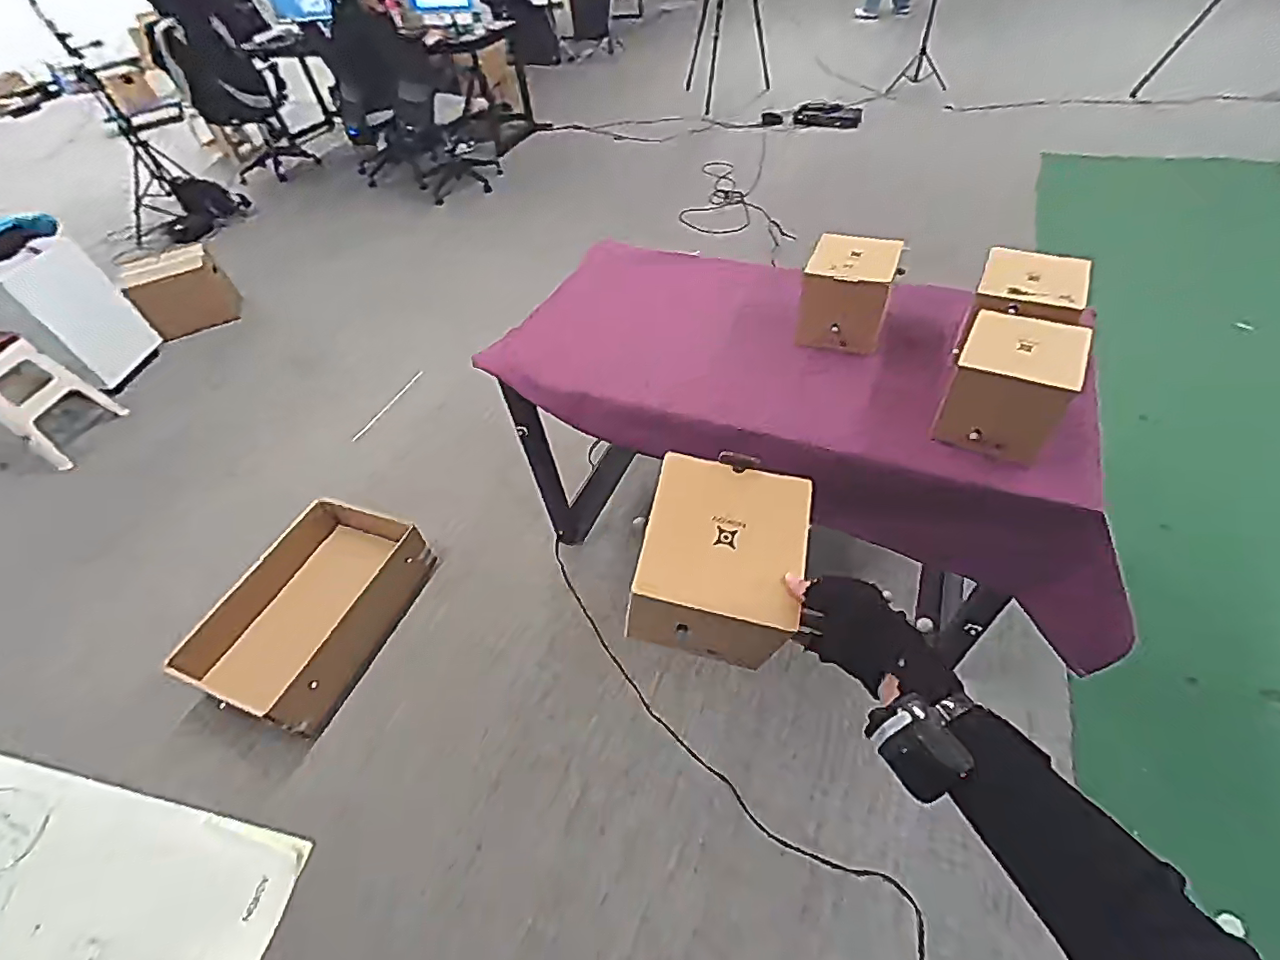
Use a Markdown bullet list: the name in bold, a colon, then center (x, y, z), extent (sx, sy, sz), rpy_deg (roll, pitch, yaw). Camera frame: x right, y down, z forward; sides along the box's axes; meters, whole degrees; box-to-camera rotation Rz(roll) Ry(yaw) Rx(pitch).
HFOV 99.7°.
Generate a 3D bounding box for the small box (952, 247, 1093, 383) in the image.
- **small box**: center (0.724, -0.316, 1.035), extent (0.168, 0.176, 0.179), rpy_deg (21, 55, 24)

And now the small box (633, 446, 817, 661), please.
- **small box**: center (0.091, 0.092, 0.626), extent (0.168, 0.176, 0.179), rpy_deg (14, 58, 4)

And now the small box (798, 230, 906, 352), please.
- **small box**: center (0.442, -0.400, 1.143), extent (0.168, 0.176, 0.179), rpy_deg (17, 54, 20)
